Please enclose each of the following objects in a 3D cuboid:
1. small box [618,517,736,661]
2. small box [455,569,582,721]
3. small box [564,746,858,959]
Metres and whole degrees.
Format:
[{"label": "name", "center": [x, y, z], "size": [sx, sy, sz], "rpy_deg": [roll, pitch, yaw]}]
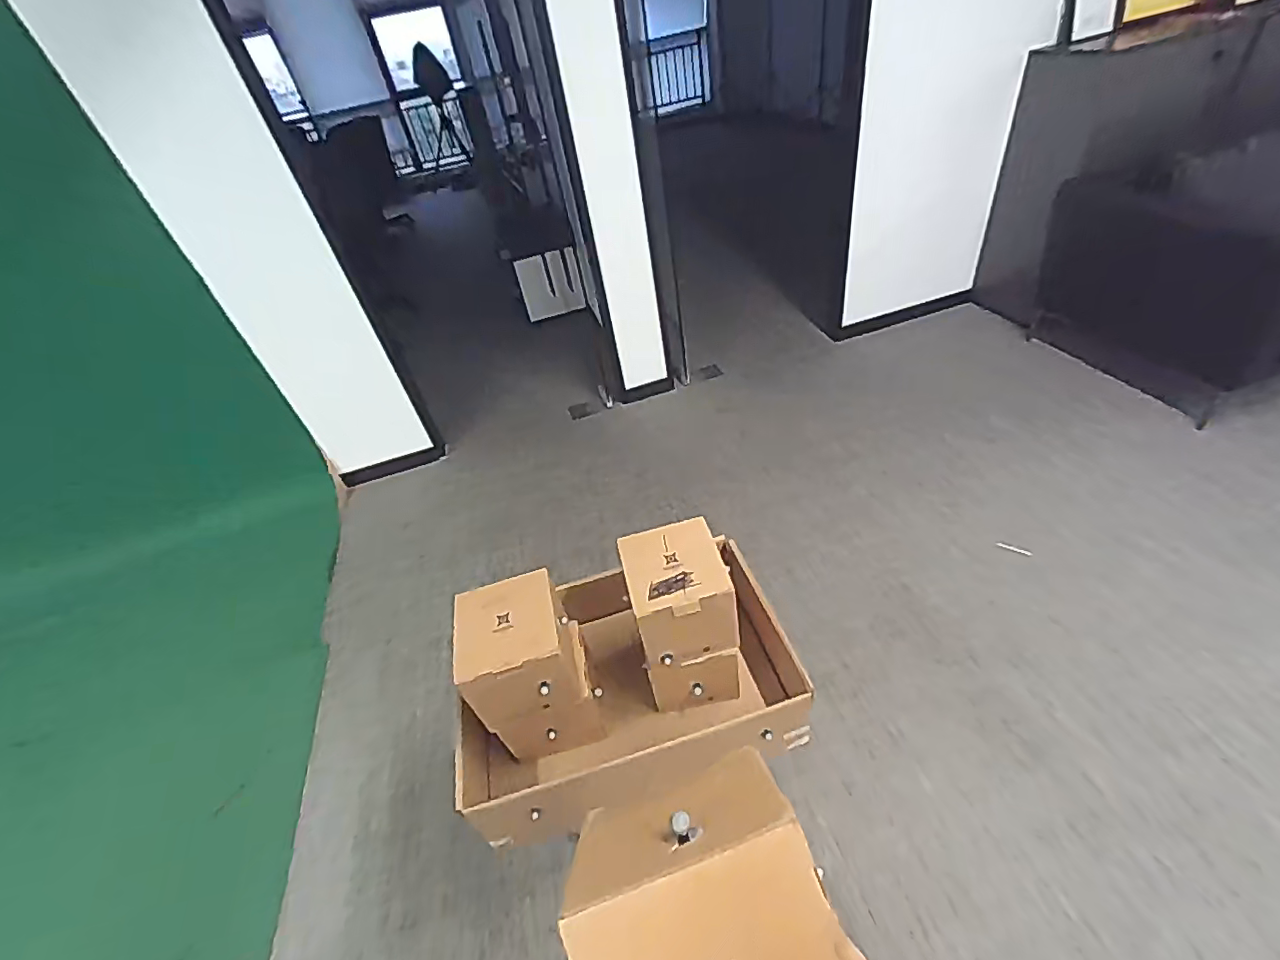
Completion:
[{"label": "small box", "center": [0.067, 0.199, 0.962], "size": [0.168, 0.176, 0.179], "rpy_deg": [-14, 40, -3]}, {"label": "small box", "center": [-0.205, 0.288, 0.927], "size": [0.168, 0.176, 0.179], "rpy_deg": [-16, 41, -5]}, {"label": "small box", "center": [0.058, 0.344, 0.433], "size": [0.179, 0.176, 0.168], "rpy_deg": [-21, 80, -3]}]
